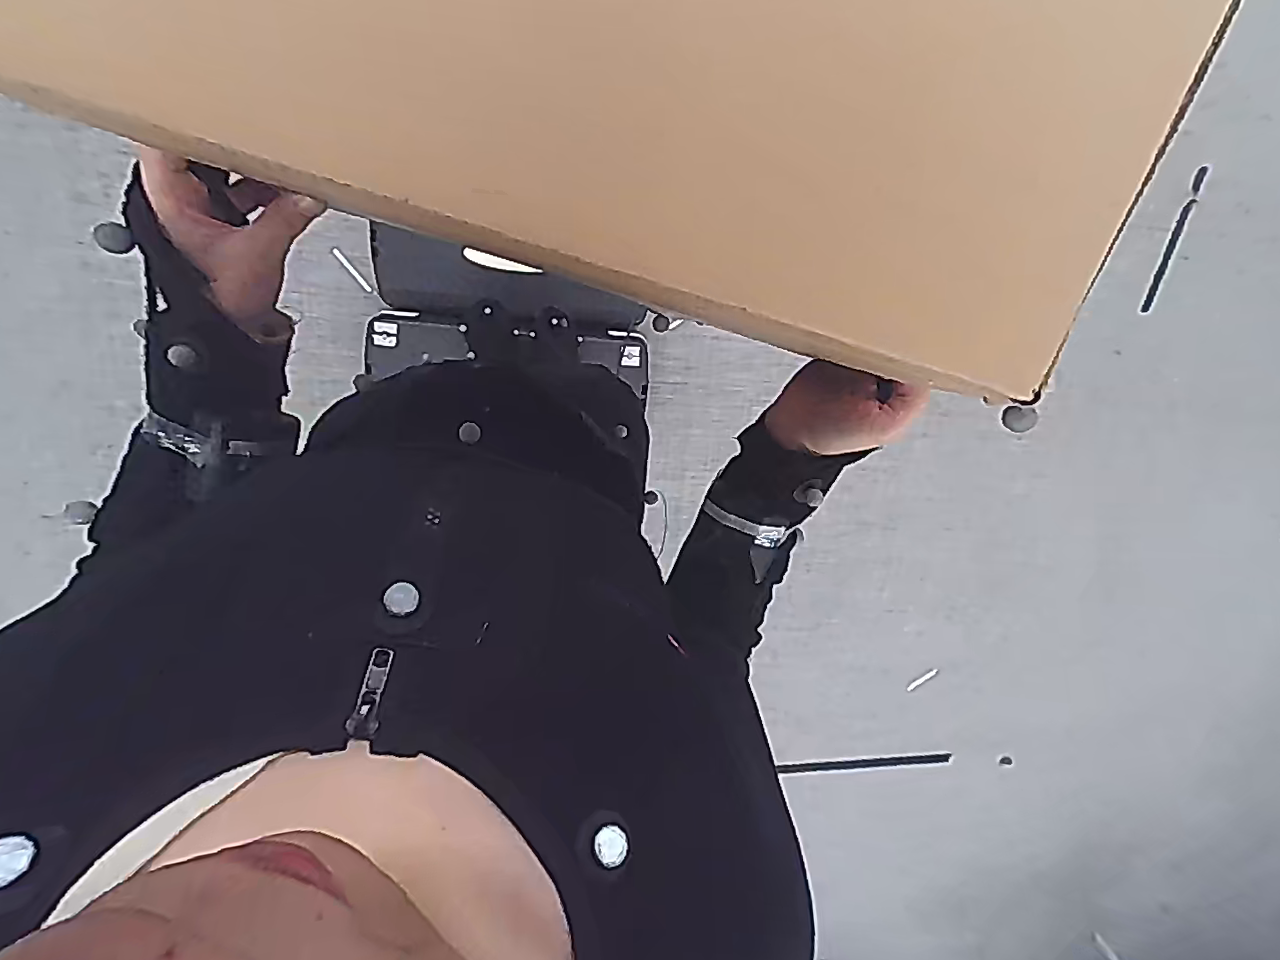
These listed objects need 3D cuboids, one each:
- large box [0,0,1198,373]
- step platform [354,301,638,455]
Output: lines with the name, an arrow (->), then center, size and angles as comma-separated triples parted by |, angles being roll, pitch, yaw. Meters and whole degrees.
large box -> -0.011, -0.273, 0.283 | 0.408, 0.320, 0.320 | 14, 108, -6
step platform -> -0.348, -0.255, 1.381 | 0.684, 0.204, 0.286 | 8, 109, -10
